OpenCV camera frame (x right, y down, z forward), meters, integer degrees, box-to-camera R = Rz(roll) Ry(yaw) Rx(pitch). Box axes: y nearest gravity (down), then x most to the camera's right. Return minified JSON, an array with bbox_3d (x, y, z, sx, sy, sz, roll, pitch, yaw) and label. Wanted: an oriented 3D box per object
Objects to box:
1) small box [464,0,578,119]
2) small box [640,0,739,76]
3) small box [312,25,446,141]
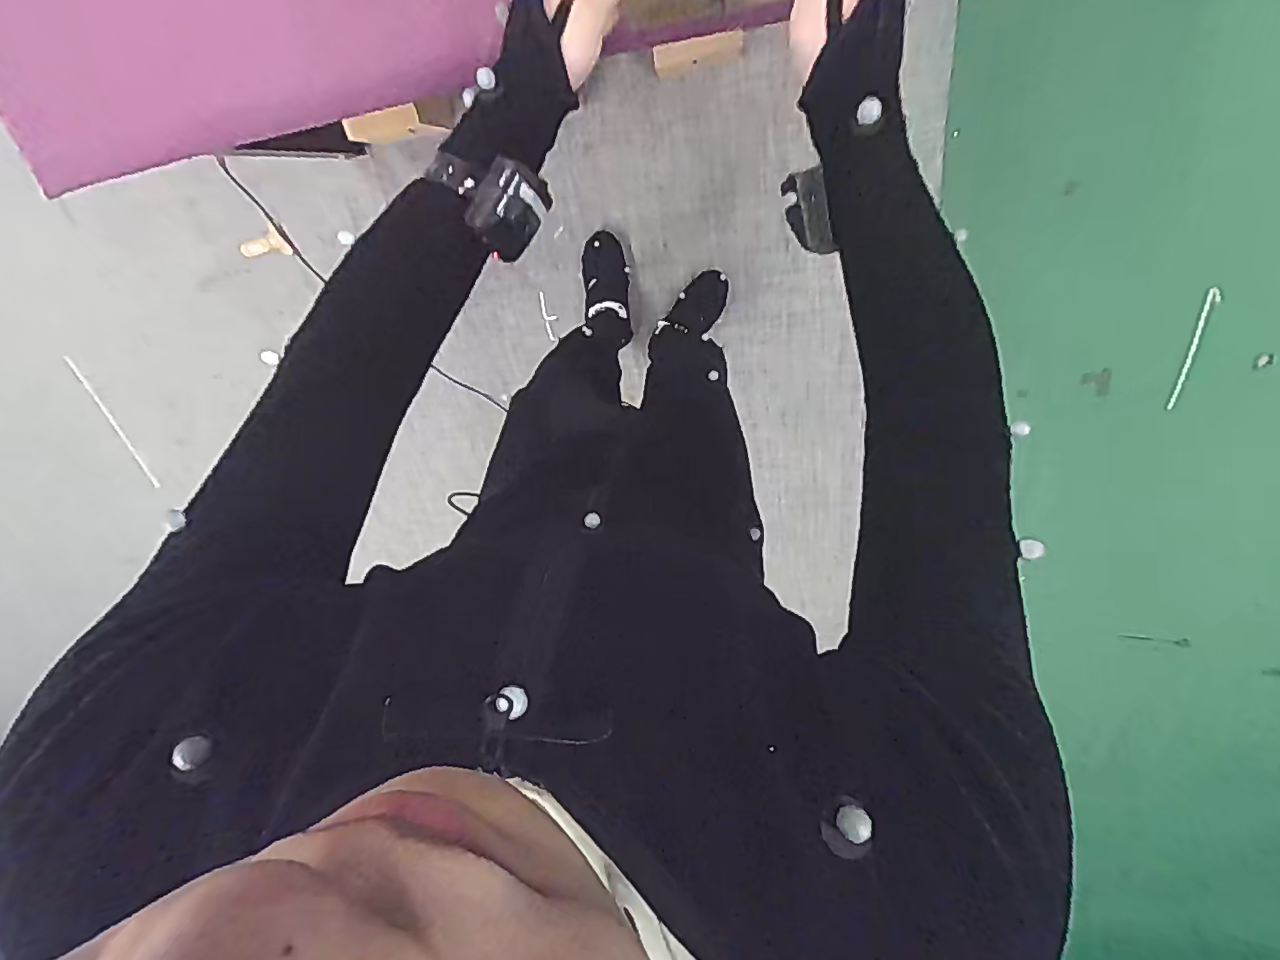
[{"bbox_3d":[-0.235,-0.873,1.132,0.179,0.176,0.168,-5,118,9],"label":"small box"},{"bbox_3d":[0.097,-0.925,1.065,0.179,0.176,0.168,-8,119,11],"label":"small box"},{"bbox_3d":[-0.556,-0.852,1.179,0.179,0.176,0.168,-7,119,9],"label":"small box"}]
